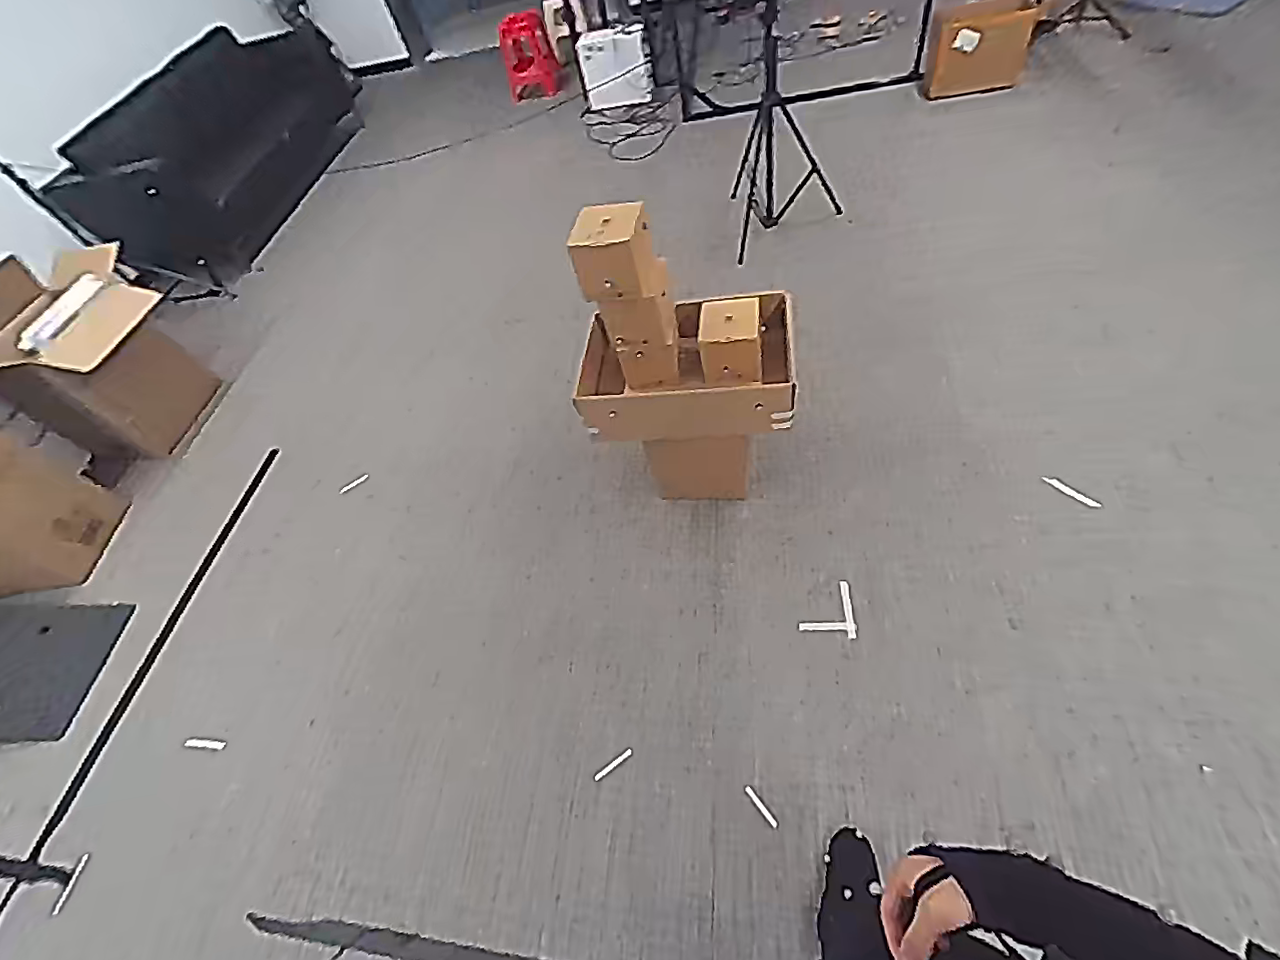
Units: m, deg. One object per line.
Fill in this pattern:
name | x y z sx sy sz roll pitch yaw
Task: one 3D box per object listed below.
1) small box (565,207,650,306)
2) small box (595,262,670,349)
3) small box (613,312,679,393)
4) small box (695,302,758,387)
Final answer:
small box | -0.076 -0.578 1.407 0.168 0.176 0.179 2 57 15
small box | -0.013 -0.486 1.532 0.168 0.176 0.179 2 55 15
small box | 0.024 -0.392 1.661 0.168 0.176 0.179 -5 54 12
small box | 0.261 -0.400 1.608 0.168 0.176 0.179 -1 56 14
